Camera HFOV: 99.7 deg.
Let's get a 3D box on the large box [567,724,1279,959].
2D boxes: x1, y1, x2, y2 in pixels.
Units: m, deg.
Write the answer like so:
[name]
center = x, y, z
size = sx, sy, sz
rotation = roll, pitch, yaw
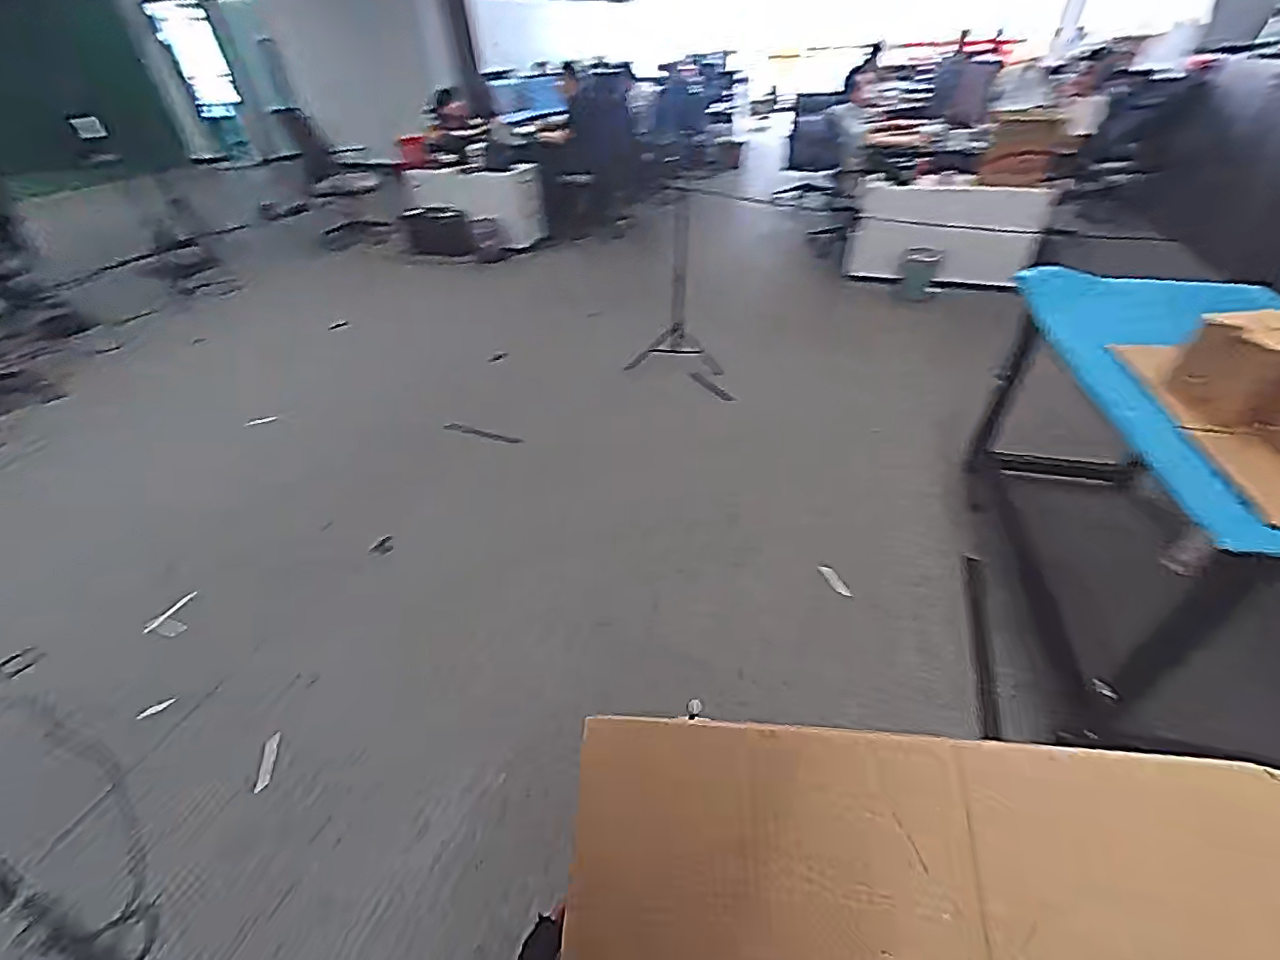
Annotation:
[large box]
center = 0.175, 0.369, 0.426
size = 0.408, 0.320, 0.320
rotation = -3, 67, 12
